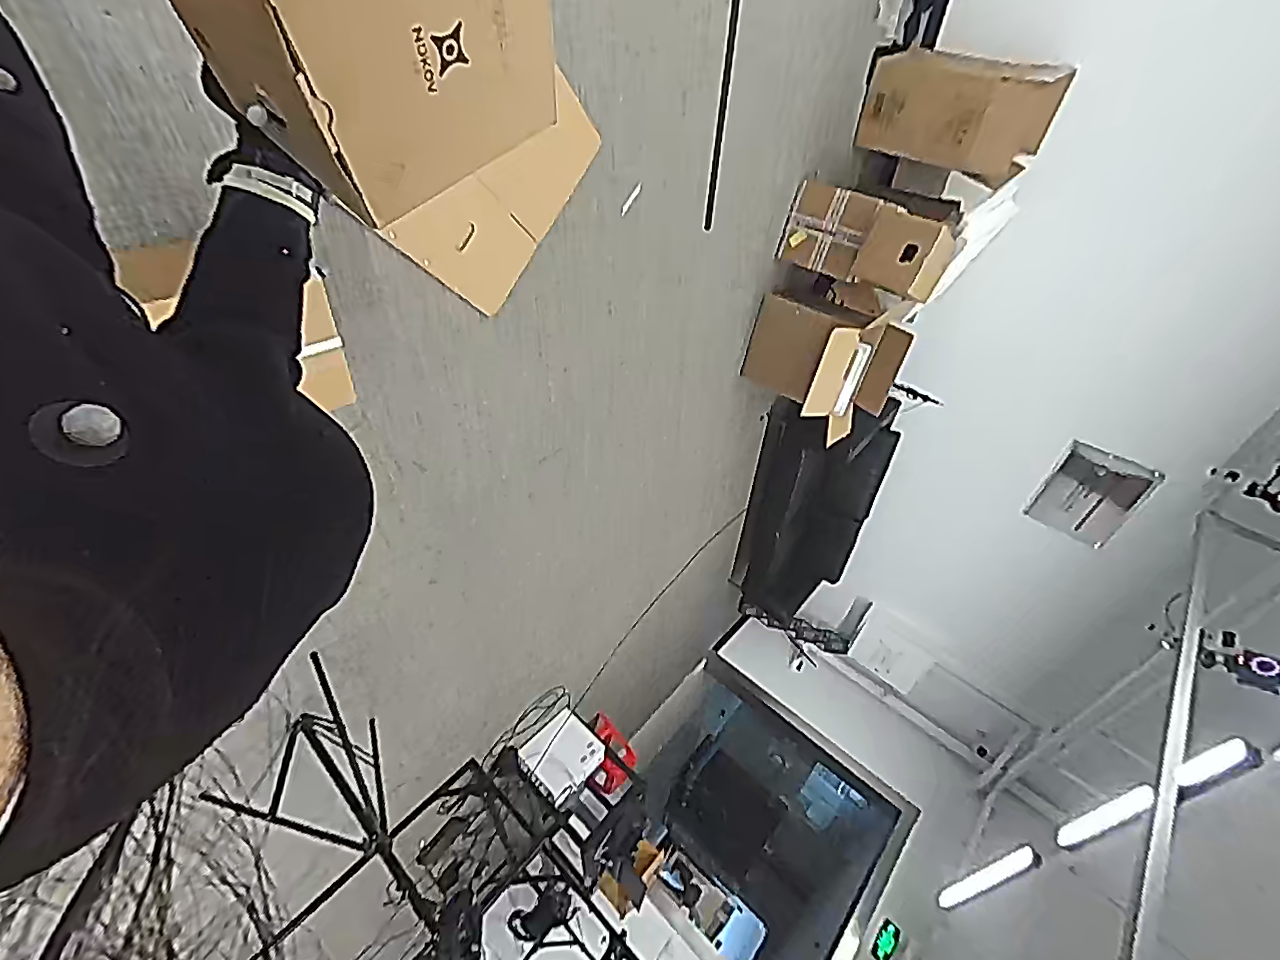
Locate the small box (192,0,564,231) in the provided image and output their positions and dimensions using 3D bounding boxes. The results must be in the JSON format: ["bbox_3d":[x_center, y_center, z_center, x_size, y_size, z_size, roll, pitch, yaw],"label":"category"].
[{"bbox_3d":[-0.171,-0.309,0.344,0.179,0.176,0.168,-45,170,-18],"label":"small box"}]
